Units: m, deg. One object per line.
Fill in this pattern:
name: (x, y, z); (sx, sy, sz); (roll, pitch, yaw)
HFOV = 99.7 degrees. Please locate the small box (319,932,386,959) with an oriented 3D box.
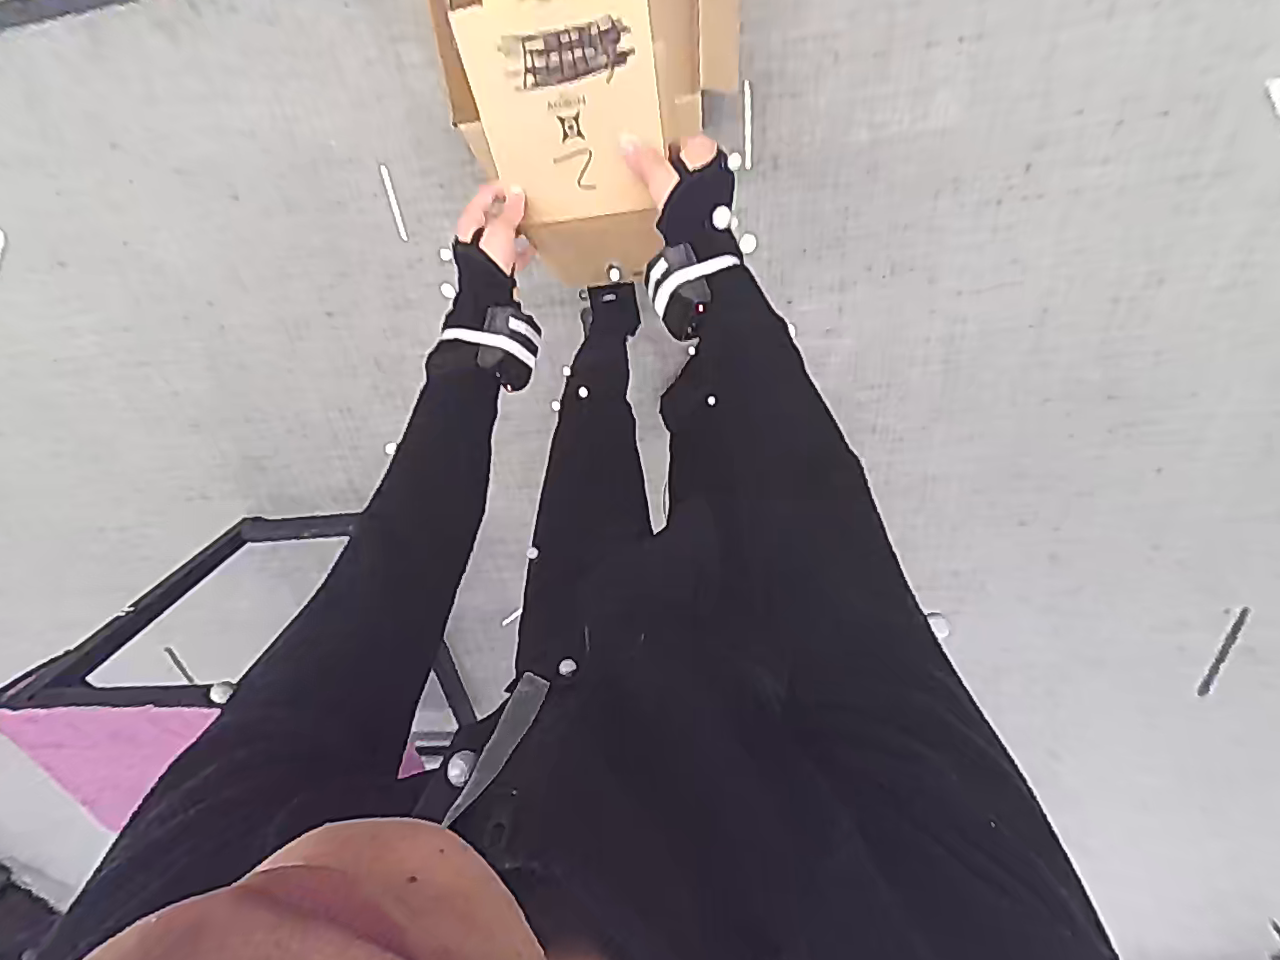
small box: (-0.838, 1.368, 1.475); (0.179, 0.176, 0.168); (-7, 119, 9)
